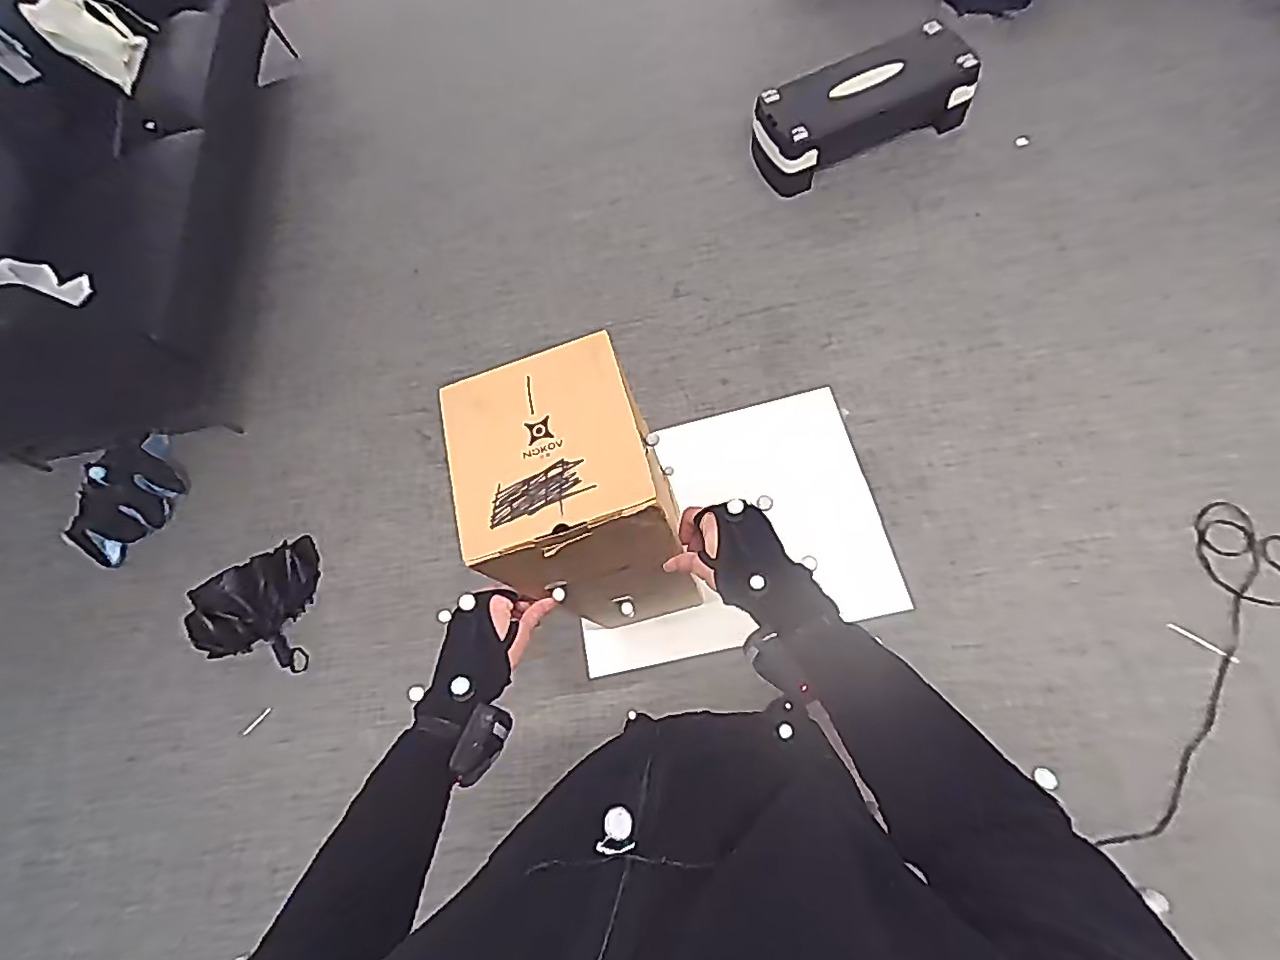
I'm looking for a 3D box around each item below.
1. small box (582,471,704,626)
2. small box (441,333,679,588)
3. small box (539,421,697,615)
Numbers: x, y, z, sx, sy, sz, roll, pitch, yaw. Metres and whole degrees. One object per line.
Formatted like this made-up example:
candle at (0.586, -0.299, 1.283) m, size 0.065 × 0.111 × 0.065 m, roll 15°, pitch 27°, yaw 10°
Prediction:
small box at (-0.005, 0.112, 0.829) m, size 0.168 × 0.176 × 0.179 m, roll -16°, pitch 67°, yaw 5°
small box at (-0.069, -0.003, 0.530) m, size 0.168 × 0.176 × 0.179 m, roll -19°, pitch 65°, yaw 5°
small box at (-0.035, 0.056, 0.680) m, size 0.168 × 0.176 × 0.179 m, roll -19°, pitch 67°, yaw 5°
